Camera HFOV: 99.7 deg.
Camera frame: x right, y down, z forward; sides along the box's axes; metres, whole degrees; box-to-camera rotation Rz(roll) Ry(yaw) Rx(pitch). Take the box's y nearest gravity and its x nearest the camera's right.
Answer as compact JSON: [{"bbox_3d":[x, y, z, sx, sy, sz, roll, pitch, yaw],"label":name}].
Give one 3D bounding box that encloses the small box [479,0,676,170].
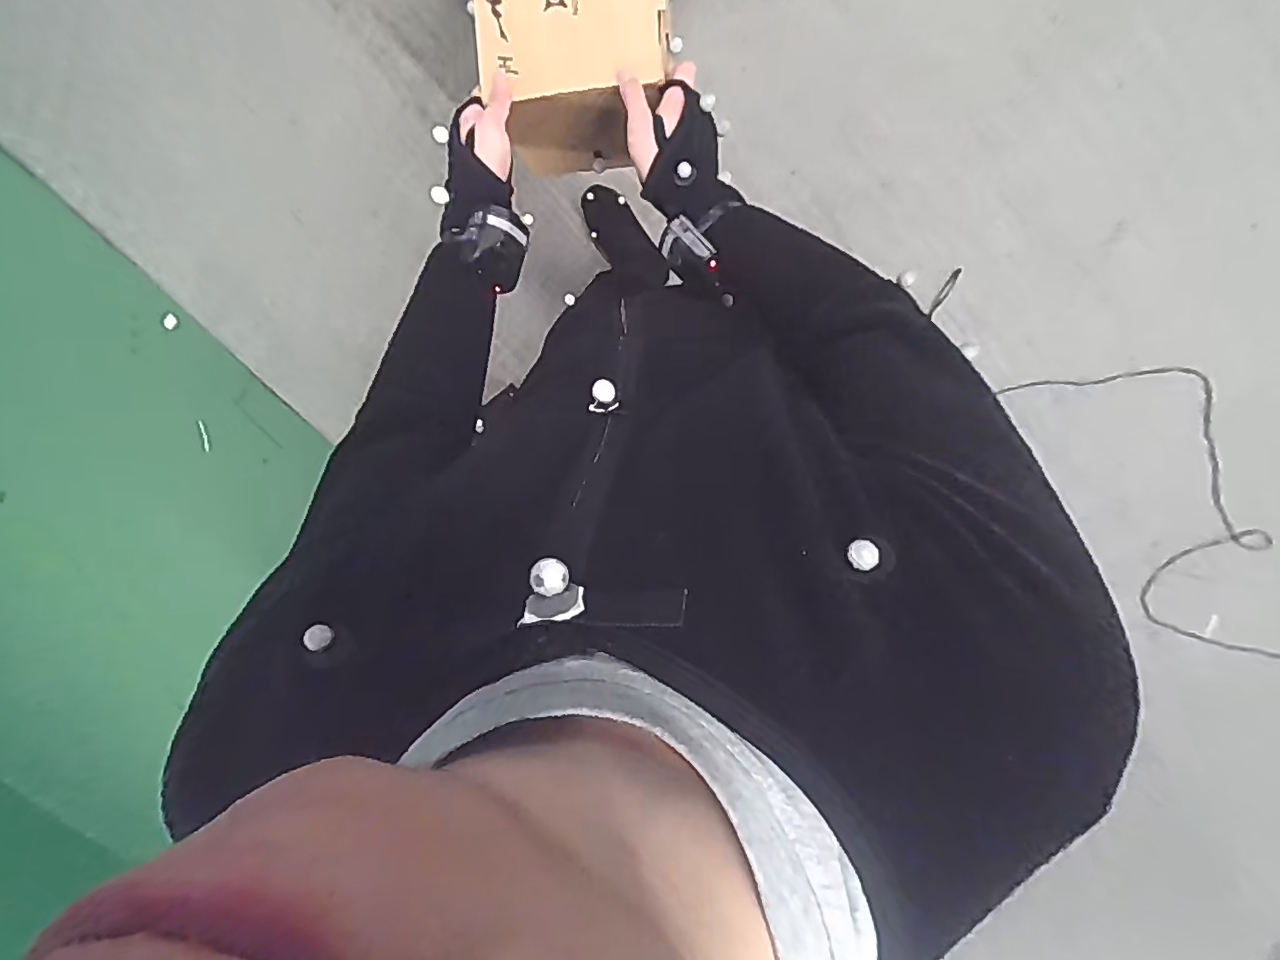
[{"bbox_3d":[-0.052,-0.444,0.556,0.179,0.176,0.168,-1,97,6],"label":"small box"}]
